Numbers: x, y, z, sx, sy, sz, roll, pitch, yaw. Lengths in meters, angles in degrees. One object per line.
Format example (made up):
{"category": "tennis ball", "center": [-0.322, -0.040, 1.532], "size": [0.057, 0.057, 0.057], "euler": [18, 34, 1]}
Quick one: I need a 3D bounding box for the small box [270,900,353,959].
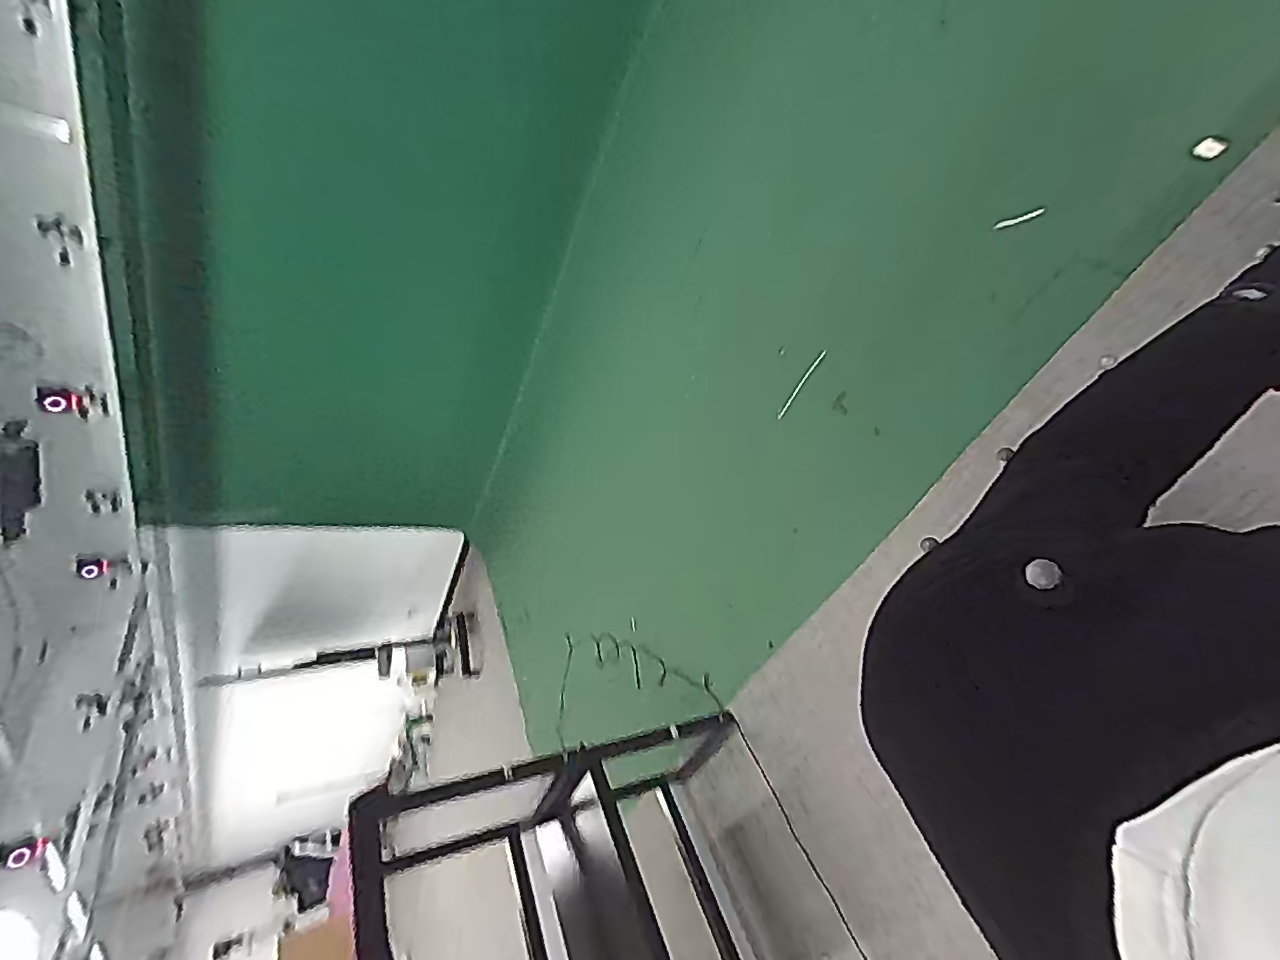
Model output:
{"category": "small box", "center": [-0.827, 1.210, 1.358], "size": [0.168, 0.176, 0.179], "euler": [-61, 41, 31]}
